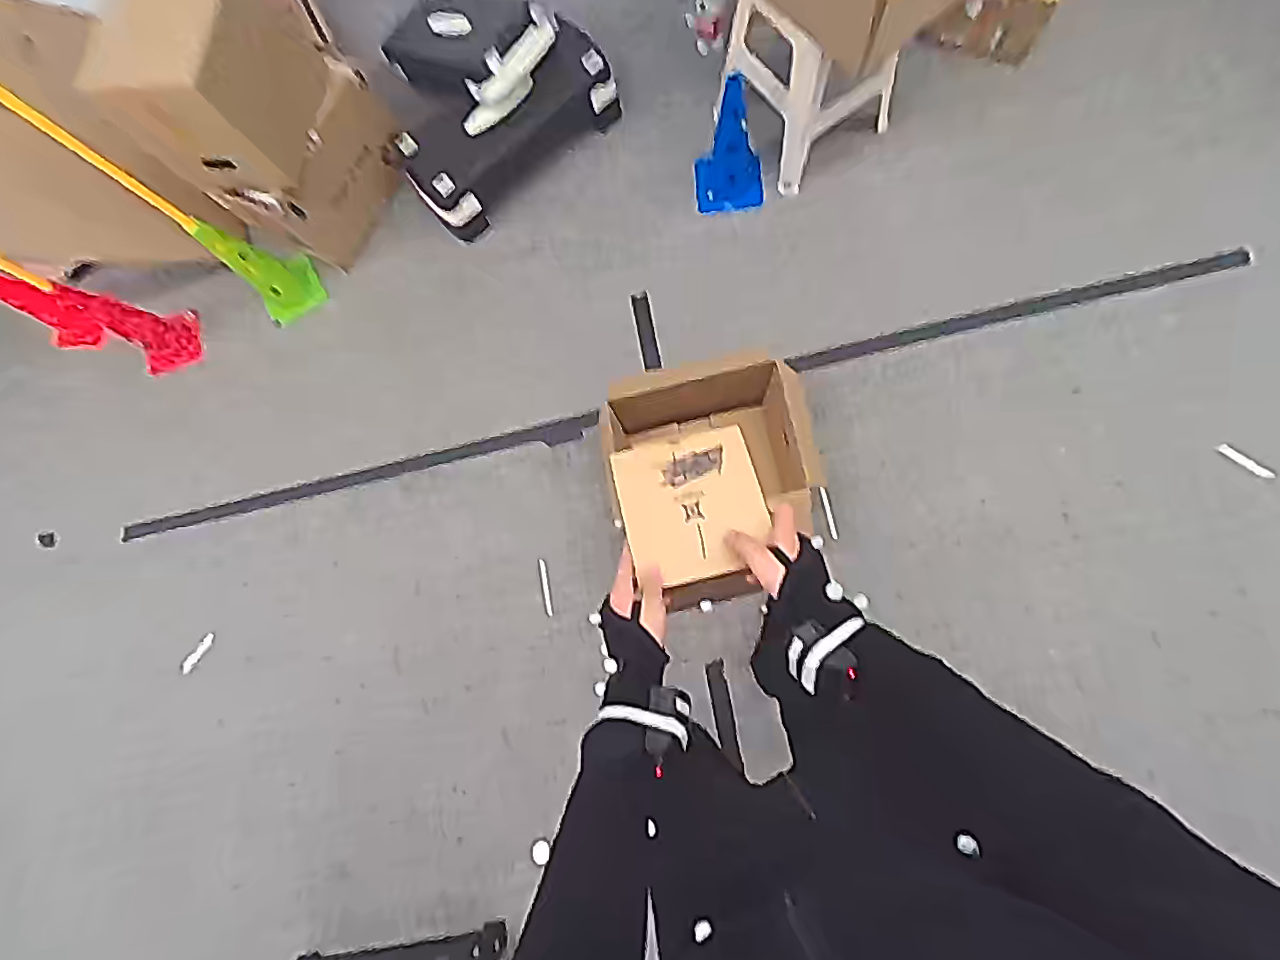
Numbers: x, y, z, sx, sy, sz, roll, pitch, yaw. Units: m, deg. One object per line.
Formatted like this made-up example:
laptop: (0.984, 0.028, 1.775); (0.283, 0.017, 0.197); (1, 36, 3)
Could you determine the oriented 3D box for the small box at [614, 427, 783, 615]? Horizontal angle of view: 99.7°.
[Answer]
small box: (0.069, 0.060, 0.702); (0.168, 0.176, 0.179); (-13, 66, -1)
